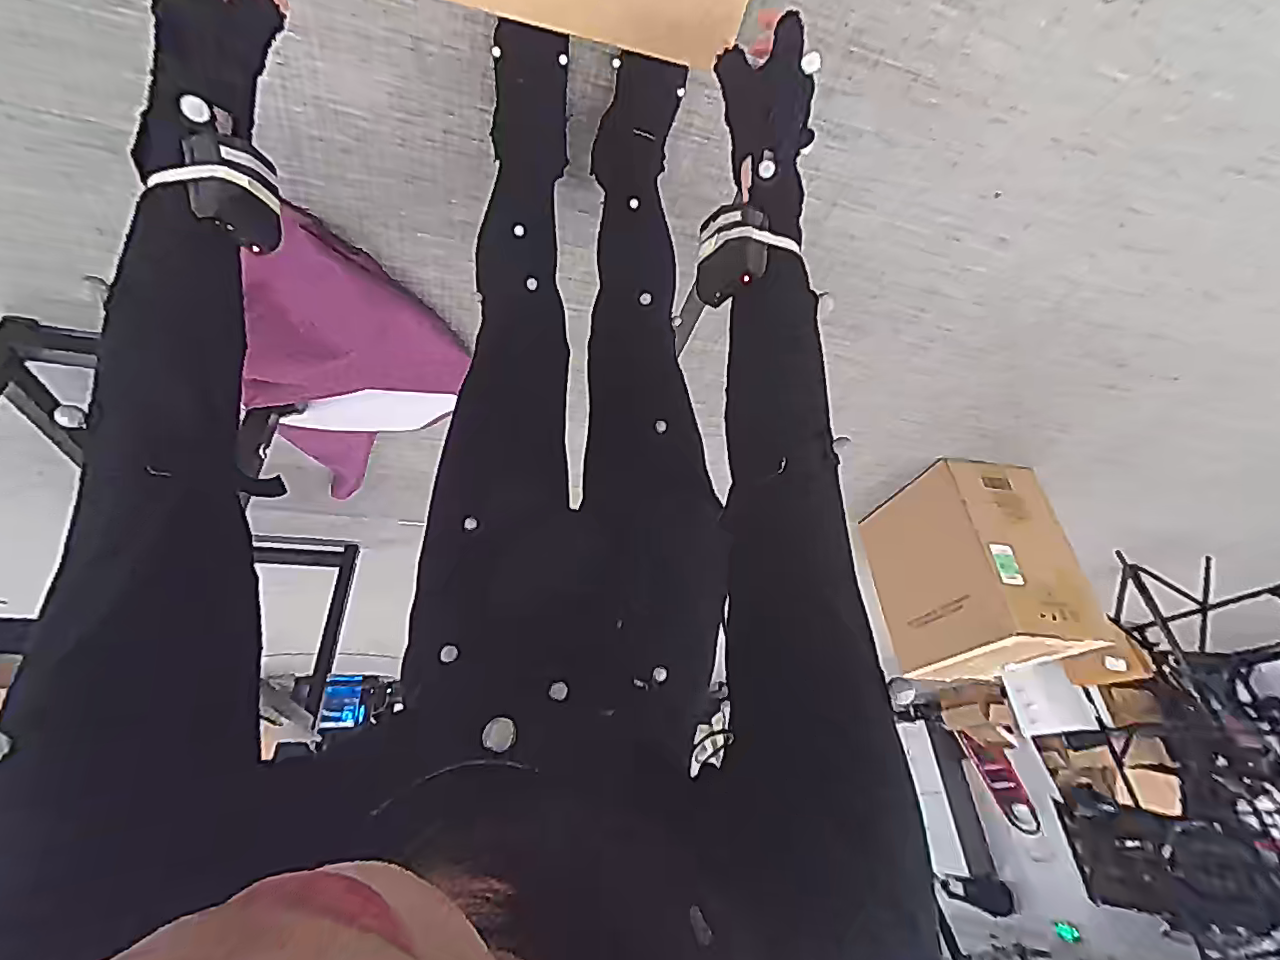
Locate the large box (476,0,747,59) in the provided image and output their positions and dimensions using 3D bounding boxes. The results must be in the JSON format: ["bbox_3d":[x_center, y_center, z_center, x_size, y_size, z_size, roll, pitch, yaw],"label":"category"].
[{"bbox_3d":[-0.072,-0.680,0.506,0.408,0.320,0.320,4,148,-13],"label":"large box"}]
